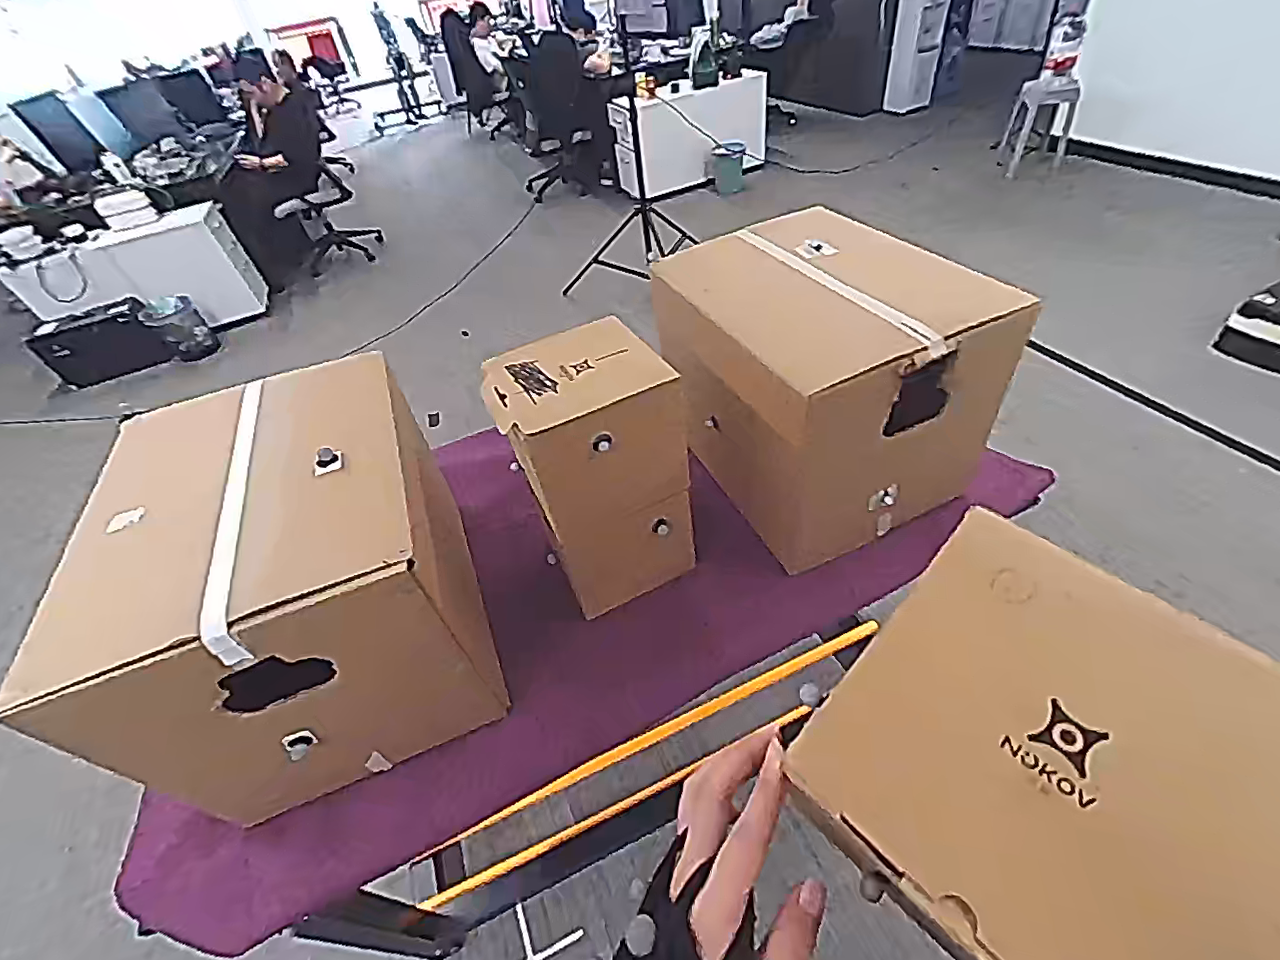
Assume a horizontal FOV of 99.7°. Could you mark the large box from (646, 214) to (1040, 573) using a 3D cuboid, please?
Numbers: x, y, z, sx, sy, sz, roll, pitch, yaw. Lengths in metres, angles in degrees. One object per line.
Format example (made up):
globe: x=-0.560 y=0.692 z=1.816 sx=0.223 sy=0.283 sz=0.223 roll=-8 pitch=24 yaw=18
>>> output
large box: x=0.248 y=-0.144 z=0.798 sx=0.320 sy=0.320 sz=0.408 roll=-22 pitch=44 yaw=-12
